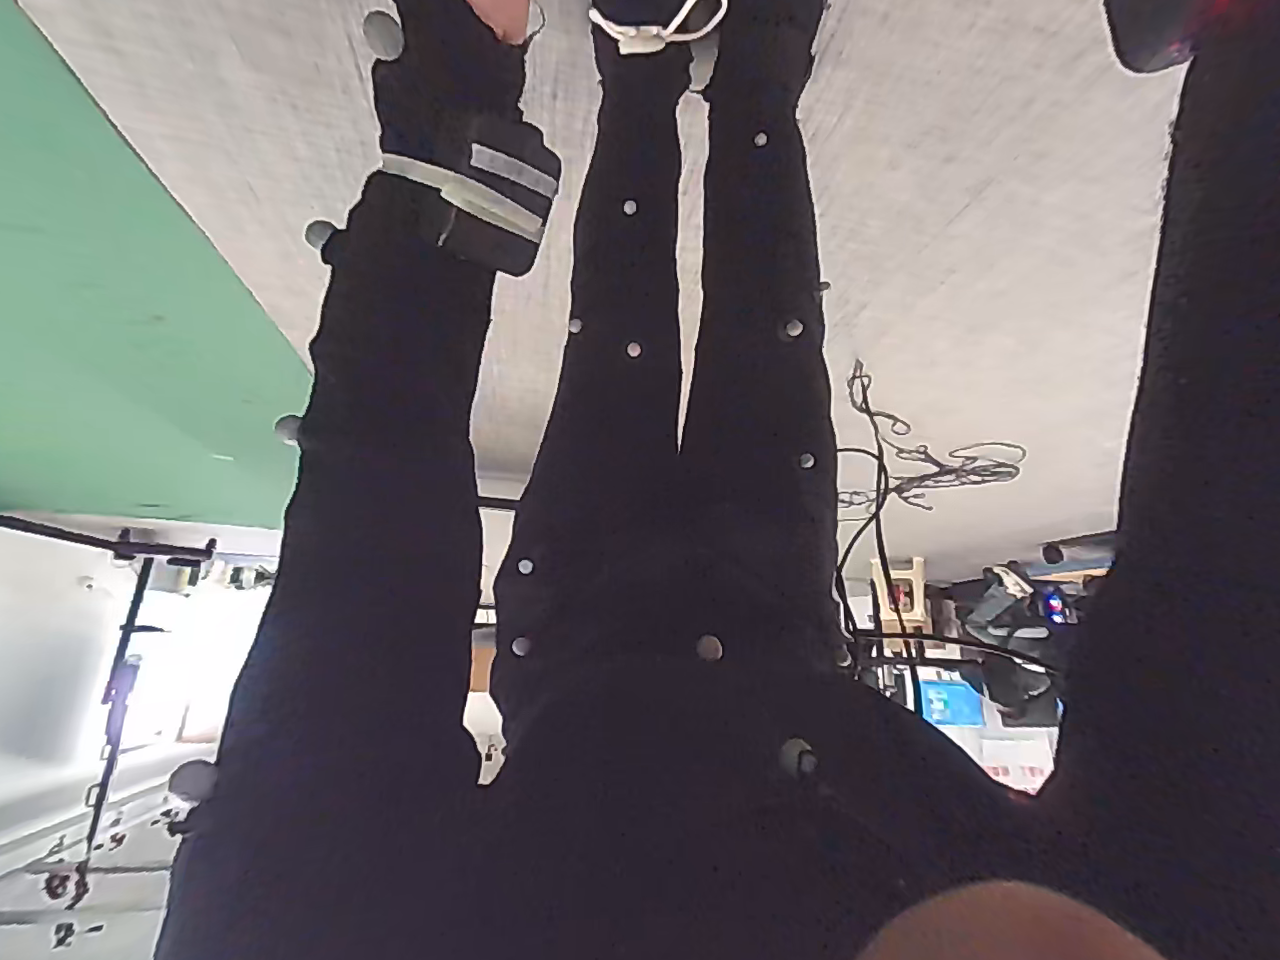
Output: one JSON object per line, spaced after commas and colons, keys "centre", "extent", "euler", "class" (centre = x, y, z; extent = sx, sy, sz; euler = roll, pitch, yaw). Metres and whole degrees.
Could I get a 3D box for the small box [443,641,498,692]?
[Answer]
{"centre": [-0.606, 0.668, 1.946], "extent": [0.168, 0.176, 0.179], "euler": [6, 162, -11], "class": "small box"}
